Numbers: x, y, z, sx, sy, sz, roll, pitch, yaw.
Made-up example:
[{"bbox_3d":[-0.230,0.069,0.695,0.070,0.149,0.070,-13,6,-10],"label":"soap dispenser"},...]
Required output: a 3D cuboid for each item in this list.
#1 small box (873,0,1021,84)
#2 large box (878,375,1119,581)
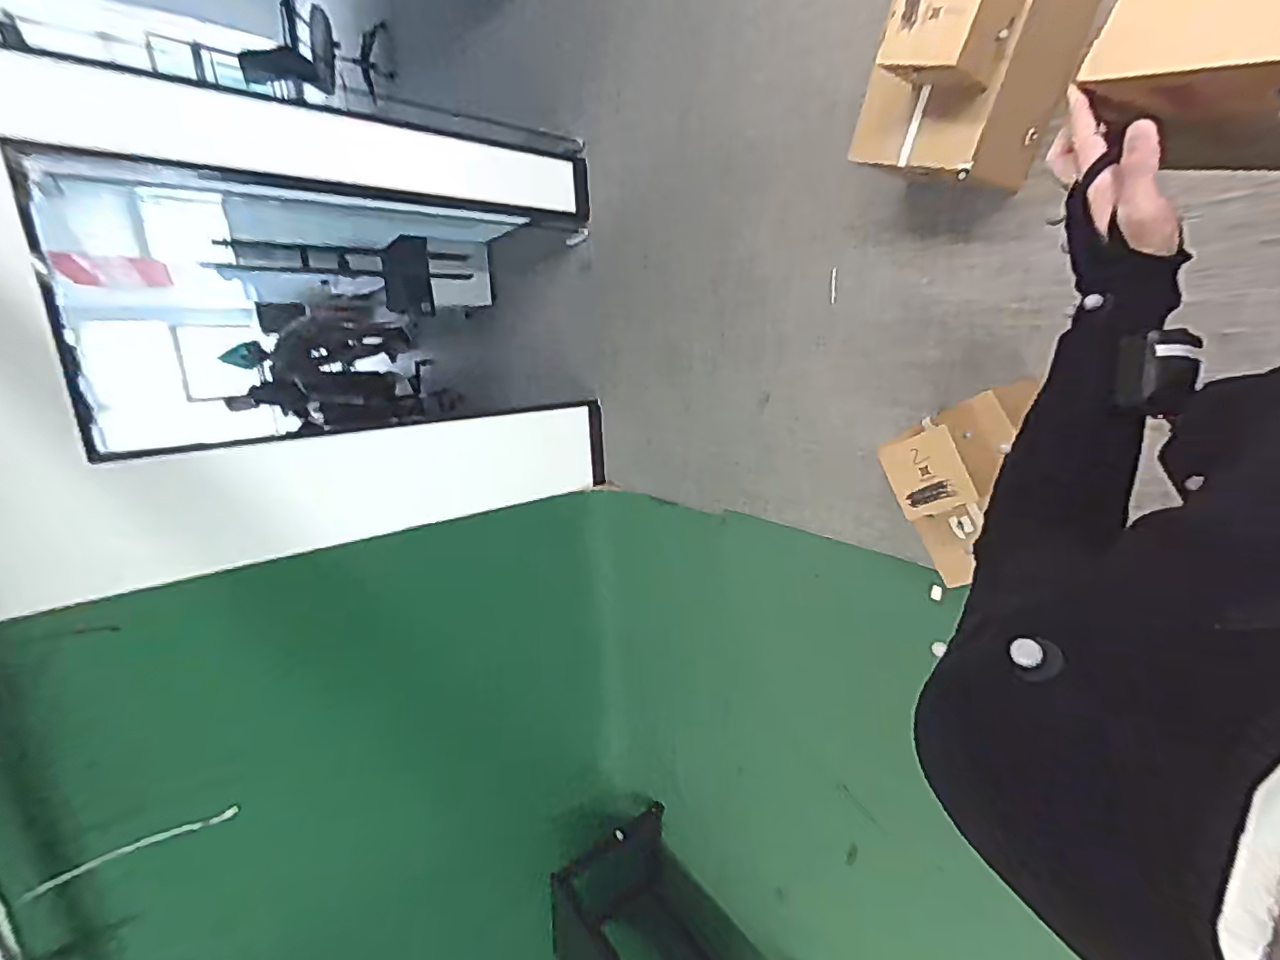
[{"bbox_3d":[0.610,-0.909,1.076,0.179,0.176,0.168,38,129,38],"label":"small box"},{"bbox_3d":[0.903,-0.009,1.380,0.320,0.320,0.408,-39,71,52],"label":"large box"}]
